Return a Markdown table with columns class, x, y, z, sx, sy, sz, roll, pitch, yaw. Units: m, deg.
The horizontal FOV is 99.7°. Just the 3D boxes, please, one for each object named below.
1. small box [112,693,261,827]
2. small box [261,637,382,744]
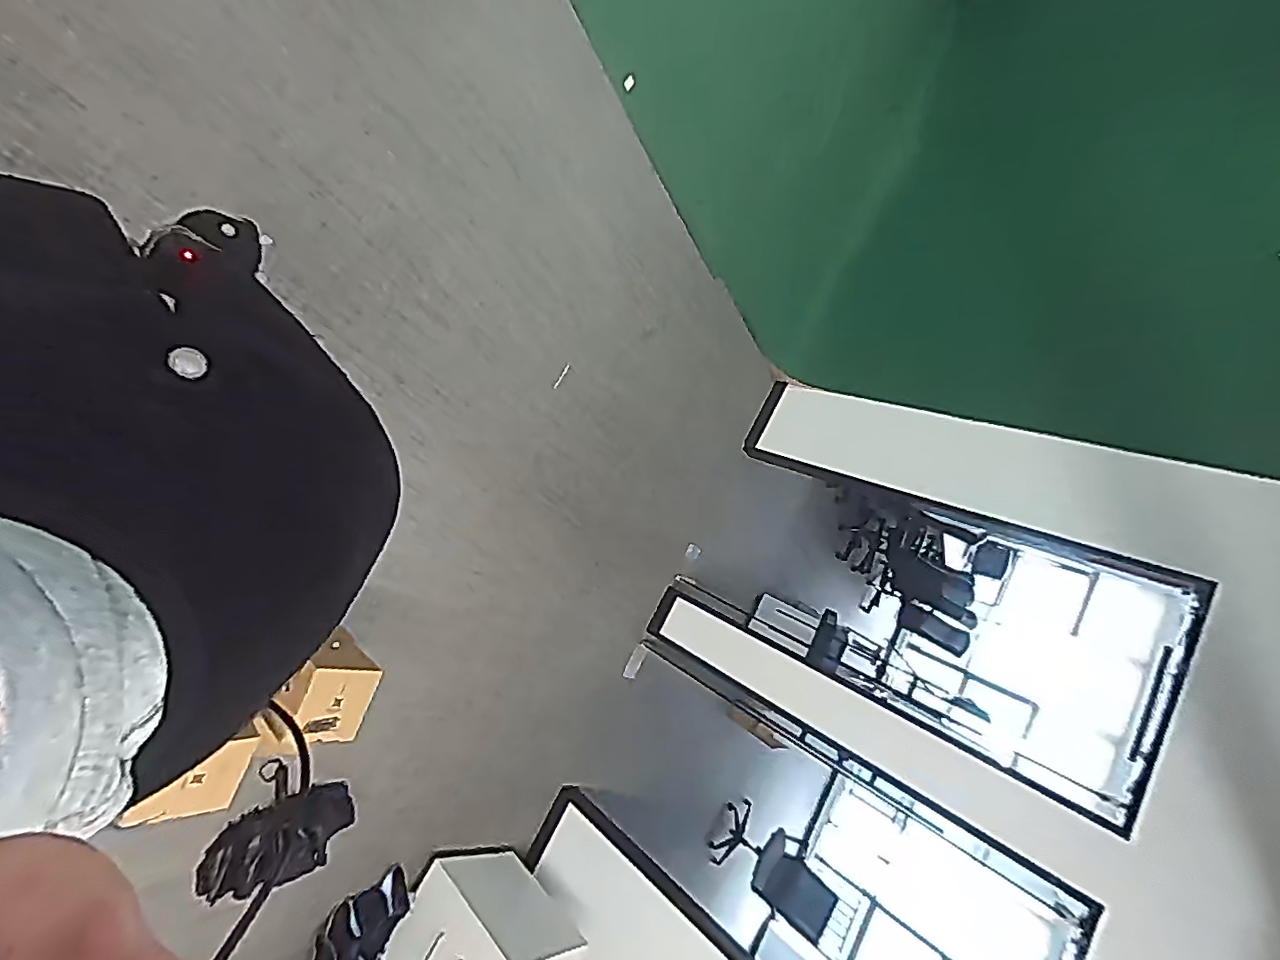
| class | x | y | z | sx | sy | sz | roll | pitch | yaw |
| --- | --- | --- | --- | --- | --- | --- | --- | --- | --- |
| small box | -0.925 | 0.555 | 1.100 | 0.179 | 0.176 | 0.168 | 25 | 90 | -54 |
| small box | -0.757 | 0.494 | 1.277 | 0.168 | 0.176 | 0.179 | 32 | 78 | -52 |
